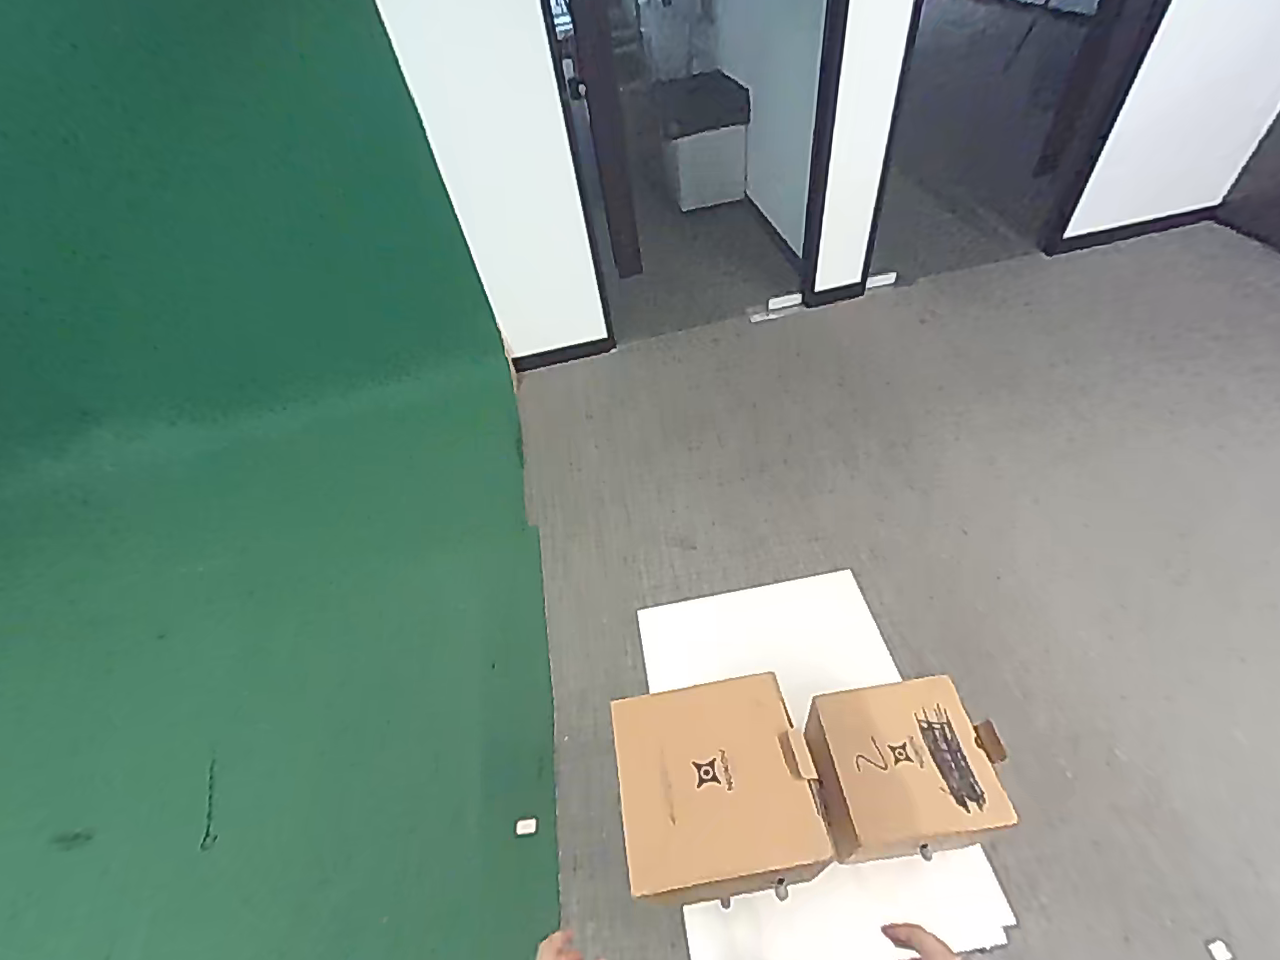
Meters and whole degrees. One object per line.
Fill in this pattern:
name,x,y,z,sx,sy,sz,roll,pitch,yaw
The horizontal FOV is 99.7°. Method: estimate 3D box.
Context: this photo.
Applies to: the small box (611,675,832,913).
small box,0.074,0.328,0.562,0.179,0.176,0.168,-11,47,-1
